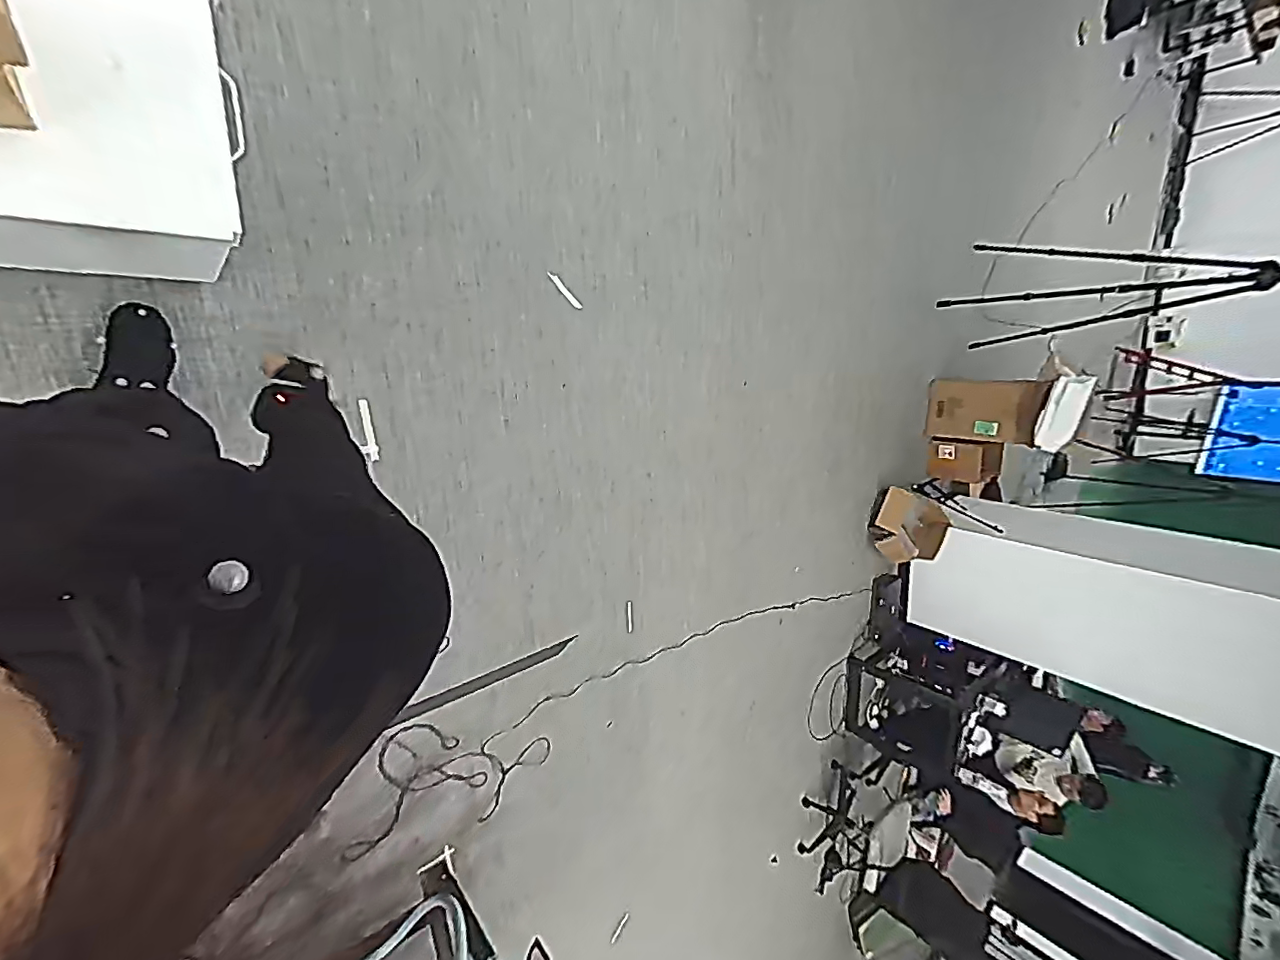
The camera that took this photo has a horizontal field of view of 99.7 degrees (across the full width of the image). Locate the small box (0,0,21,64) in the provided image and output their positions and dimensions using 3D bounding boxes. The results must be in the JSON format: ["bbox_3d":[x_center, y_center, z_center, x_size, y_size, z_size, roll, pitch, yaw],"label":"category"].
[{"bbox_3d":[-0.650,-0.471,0.426,0.168,0.176,0.179,-19,110,-37],"label":"small box"}]

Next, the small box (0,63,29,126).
[{"bbox_3d":[-0.774,-0.475,0.535,0.179,0.176,0.168,-20,112,-37],"label":"small box"}]
